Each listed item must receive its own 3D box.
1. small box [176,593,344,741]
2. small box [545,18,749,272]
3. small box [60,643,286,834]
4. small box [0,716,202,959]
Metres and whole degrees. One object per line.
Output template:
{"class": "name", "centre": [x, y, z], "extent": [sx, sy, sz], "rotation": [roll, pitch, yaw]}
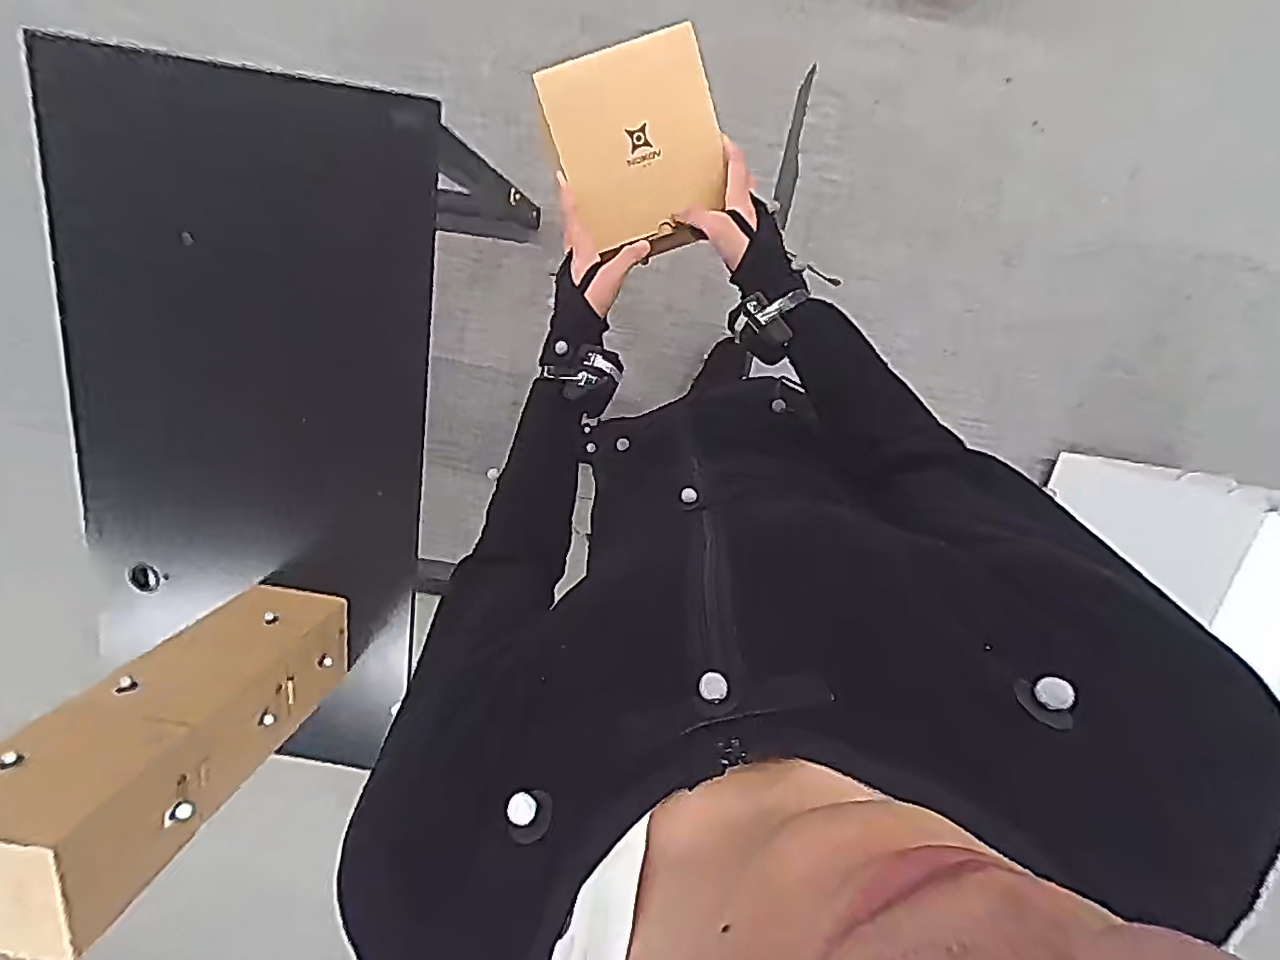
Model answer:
{"class": "small box", "centre": [-0.633, 0.311, 0.926], "extent": [0.179, 0.176, 0.168], "rotation": [8, 105, 0]}
{"class": "small box", "centre": [0.001, -0.355, 0.610], "extent": [0.168, 0.176, 0.179], "rotation": [-19, 106, -1]}
{"class": "small box", "centre": [-0.643, 0.353, 0.767], "extent": [0.179, 0.176, 0.168], "rotation": [9, 106, 0]}
{"class": "small box", "centre": [-0.650, 0.396, 0.610], "extent": [0.179, 0.176, 0.168], "rotation": [8, 107, 0]}
